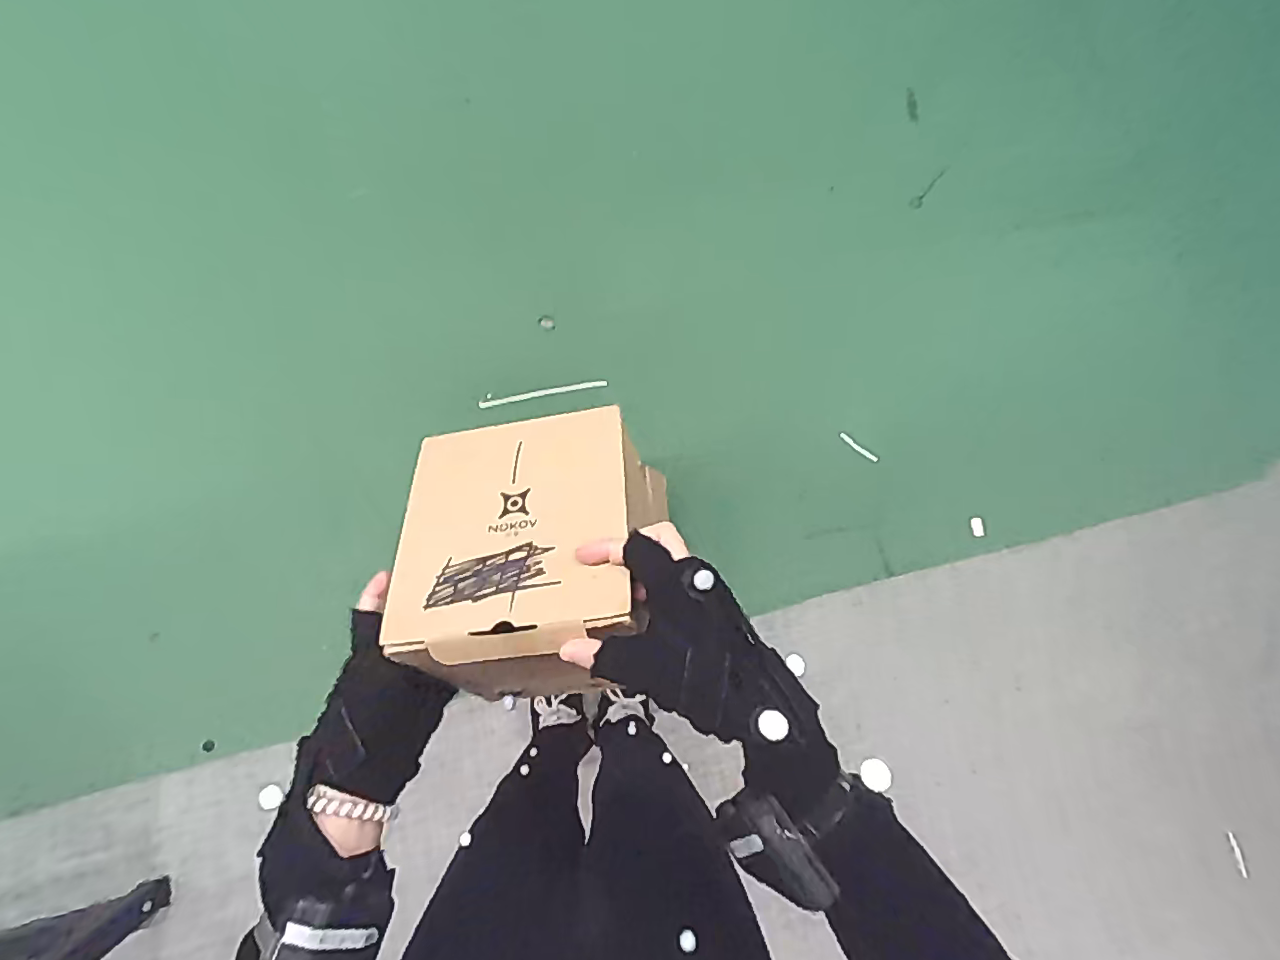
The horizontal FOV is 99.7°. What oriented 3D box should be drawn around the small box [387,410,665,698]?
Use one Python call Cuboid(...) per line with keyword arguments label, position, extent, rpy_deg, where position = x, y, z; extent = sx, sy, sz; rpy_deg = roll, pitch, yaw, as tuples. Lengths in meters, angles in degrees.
Cuboid(label="small box", position=(-0.076, 0.072, 0.448), extent=(0.168, 0.176, 0.179), rpy_deg=(-9, 55, 4))
